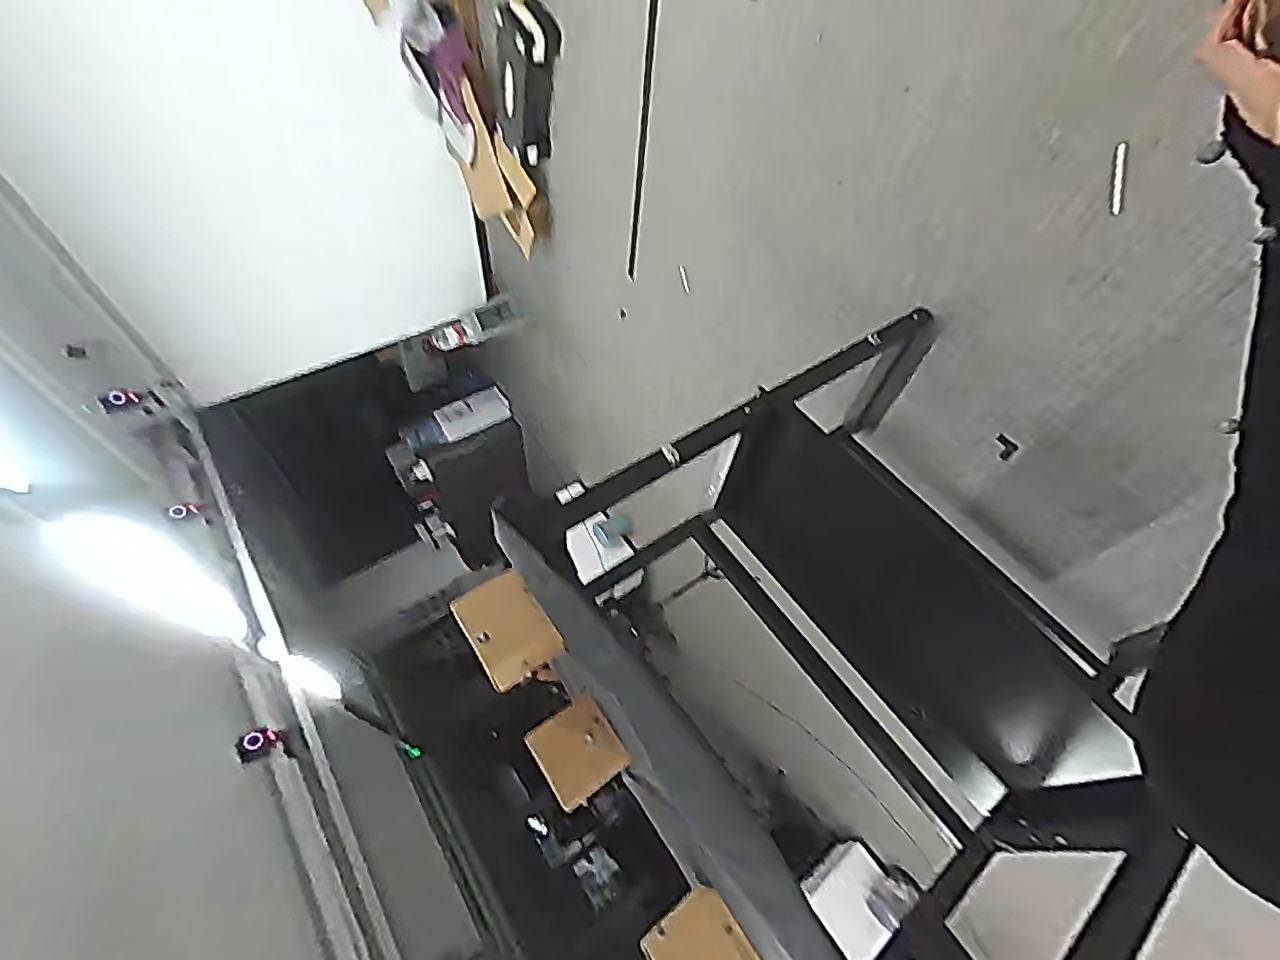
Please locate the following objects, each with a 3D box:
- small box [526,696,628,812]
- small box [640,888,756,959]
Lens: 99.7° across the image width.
[{"bbox_3d":[-0.141,0.627,1.238,0.168,0.176,0.179,50,154,23],"label":"small box"},{"bbox_3d":[0.122,0.938,1.051,0.168,0.176,0.179,51,155,24],"label":"small box"}]
